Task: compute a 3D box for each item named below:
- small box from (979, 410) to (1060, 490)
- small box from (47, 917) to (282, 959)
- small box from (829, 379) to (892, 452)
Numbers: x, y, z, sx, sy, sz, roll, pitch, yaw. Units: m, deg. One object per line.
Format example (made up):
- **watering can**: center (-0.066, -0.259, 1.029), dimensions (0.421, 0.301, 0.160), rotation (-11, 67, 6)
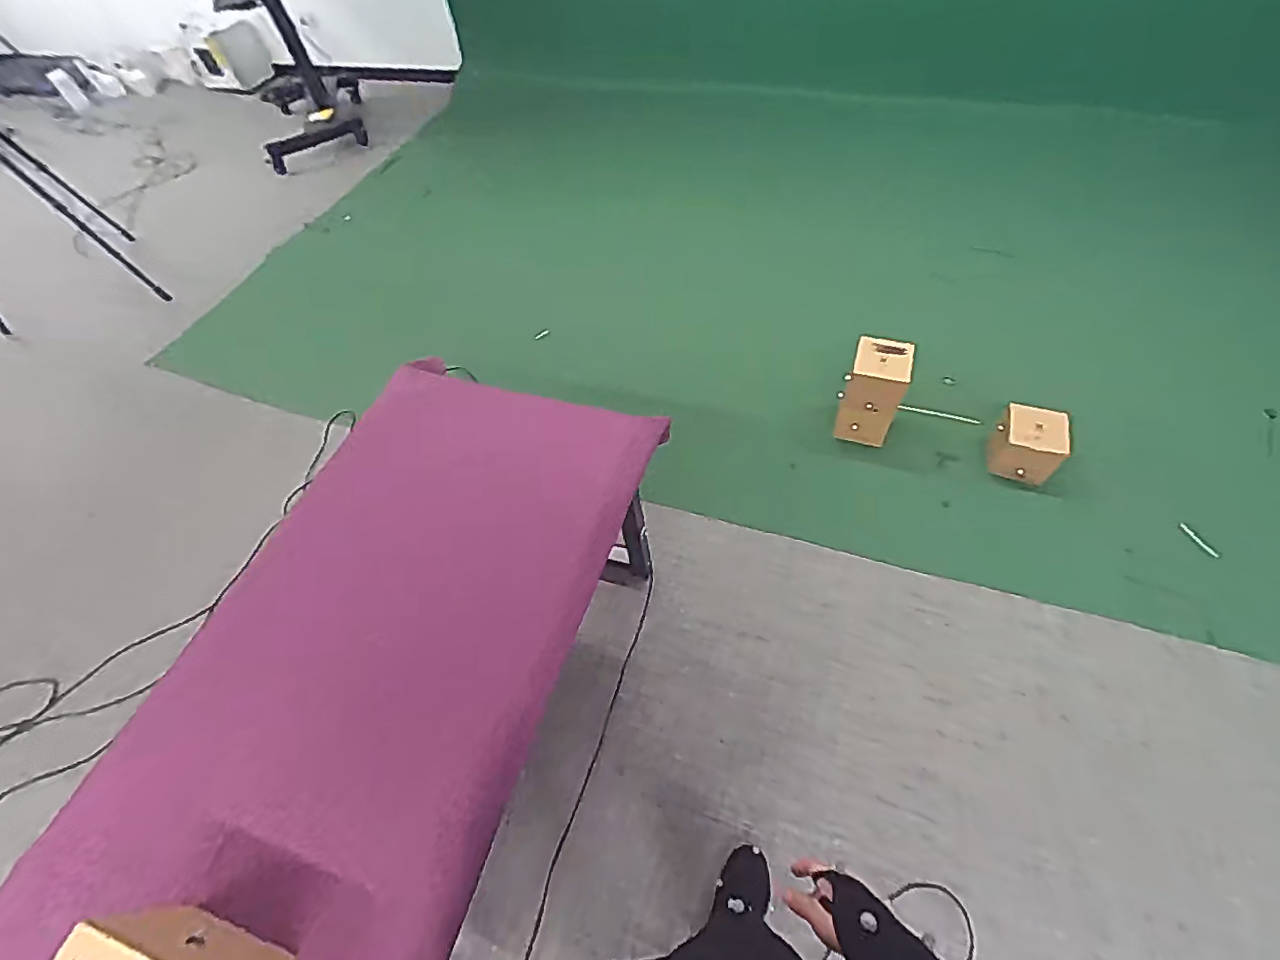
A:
- **small box**: center (1.244, -0.097, 1.781), dimensions (0.168, 0.176, 0.179), rotation (16, 59, 15)
- **small box**: center (-0.546, 0.603, 0.584), dimensions (0.179, 0.176, 0.168), rotation (12, 58, 12)
- **small box**: center (0.777, -0.225, 1.914), dimensions (0.168, 0.176, 0.179), rotation (14, 58, 15)
